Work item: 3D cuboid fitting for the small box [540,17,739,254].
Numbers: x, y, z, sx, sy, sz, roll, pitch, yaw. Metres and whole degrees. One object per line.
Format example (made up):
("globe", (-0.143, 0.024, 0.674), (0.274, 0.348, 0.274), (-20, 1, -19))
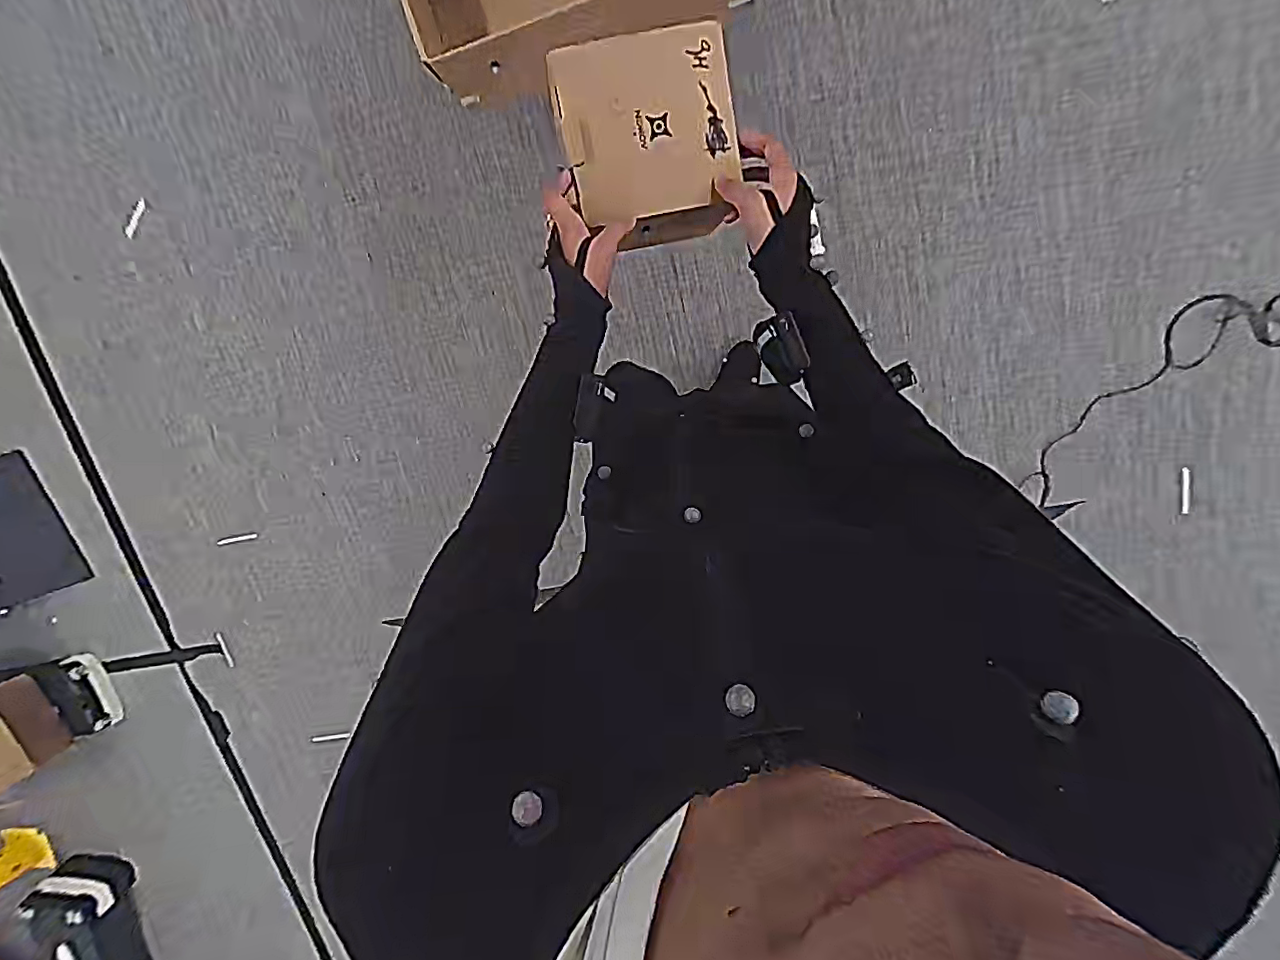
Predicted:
("small box", (-0.002, -0.370, 0.616), (0.179, 0.176, 0.168), (-13, 104, -2))
